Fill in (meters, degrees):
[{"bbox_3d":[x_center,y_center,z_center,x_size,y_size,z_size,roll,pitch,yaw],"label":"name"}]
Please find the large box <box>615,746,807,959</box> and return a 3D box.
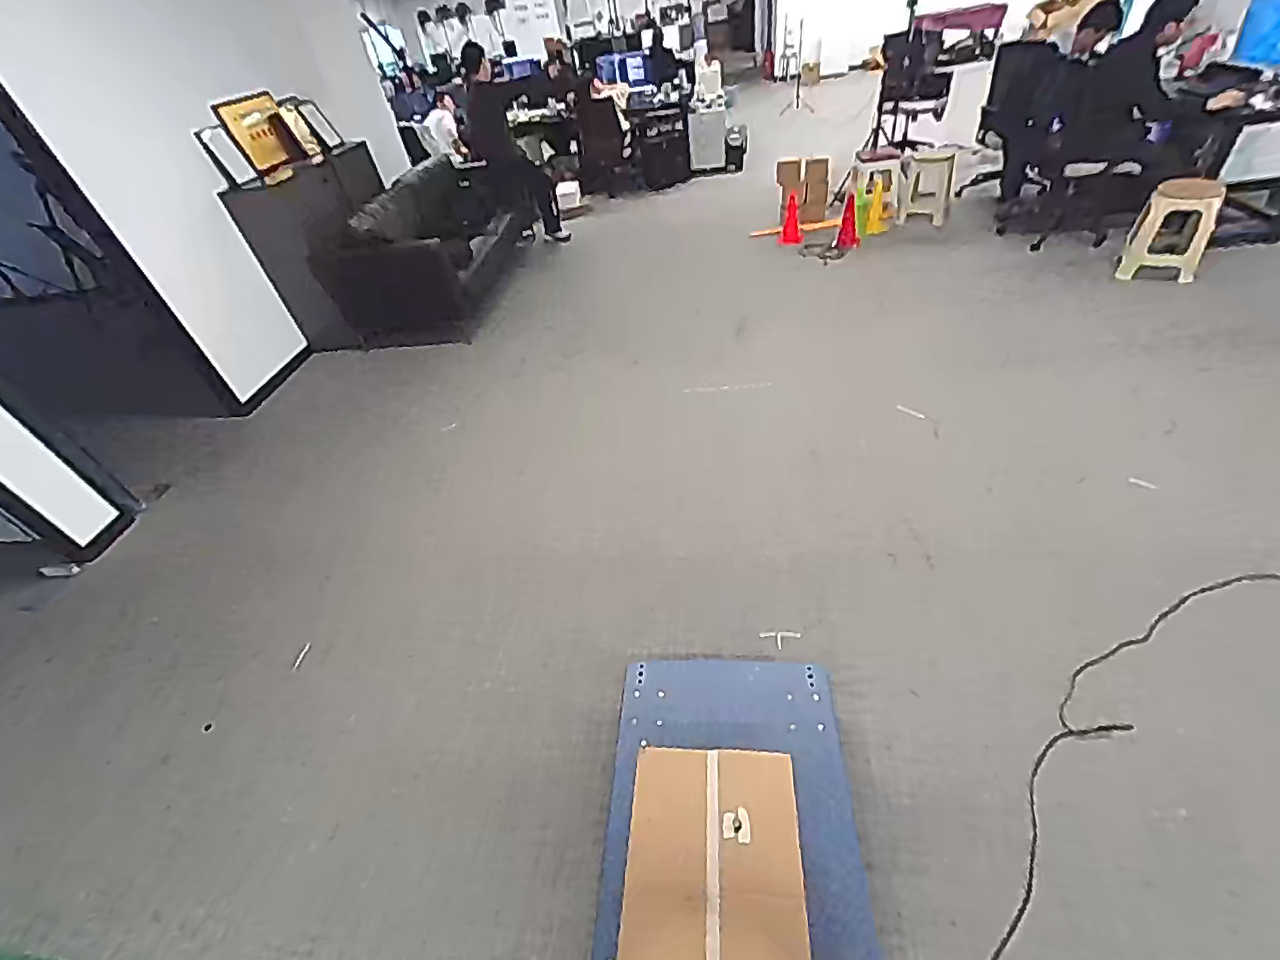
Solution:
[{"bbox_3d":[0.146,0.805,1.075,0.320,0.320,0.408,-2,40,9],"label":"large box"}]
